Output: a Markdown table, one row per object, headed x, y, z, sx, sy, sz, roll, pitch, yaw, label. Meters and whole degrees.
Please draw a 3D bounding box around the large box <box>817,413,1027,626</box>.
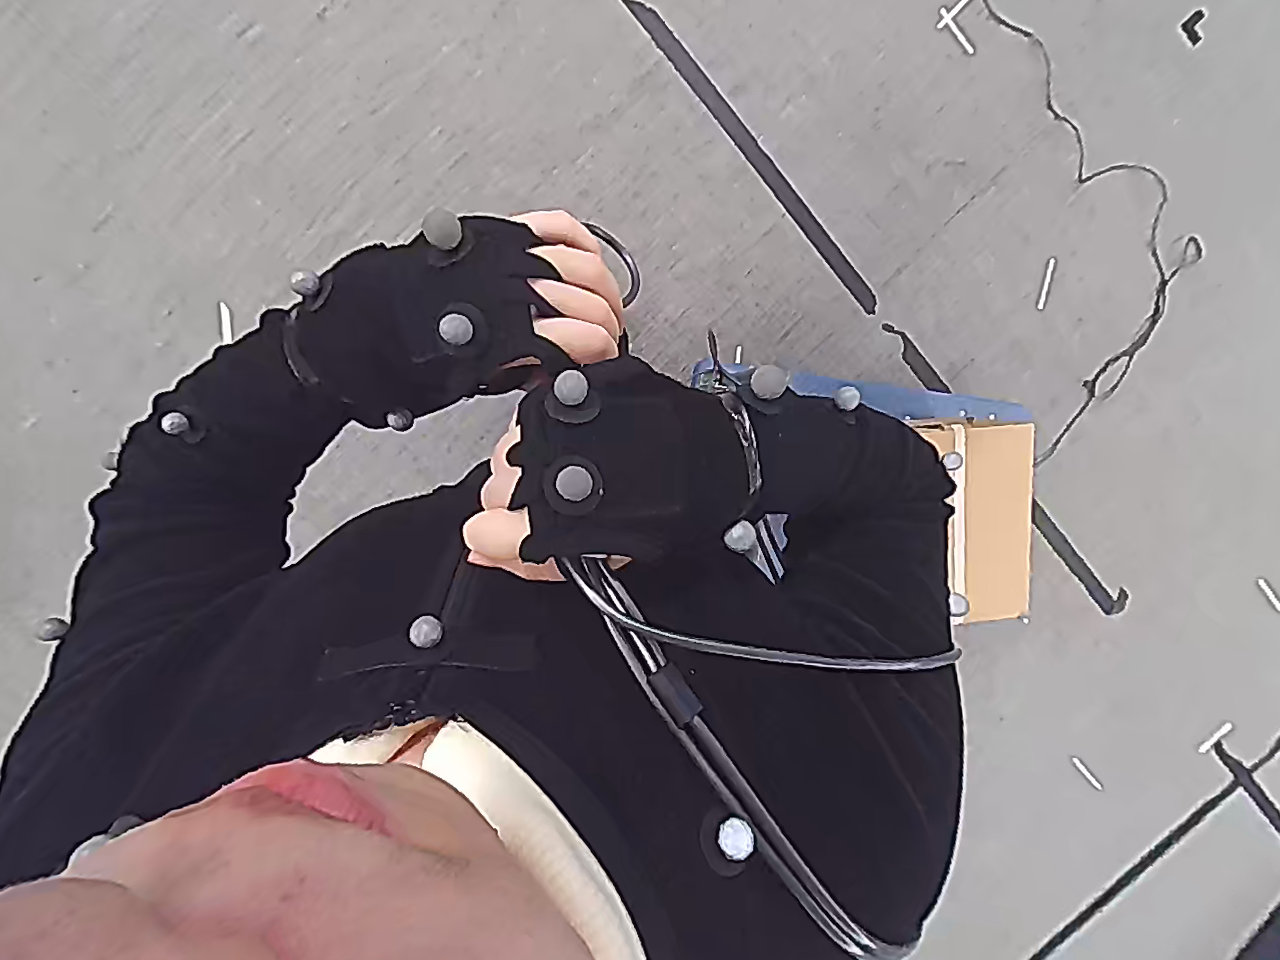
| x | y | z | sx | sy | sz | roll | pitch | yaw | label |
| --- | --- | --- | --- | --- | --- | --- | --- | --- | --- |
| 0.612 | 0.066 | 1.227 | 0.320 | 0.320 | 0.408 | -5 | 99 | -3 | large box |
